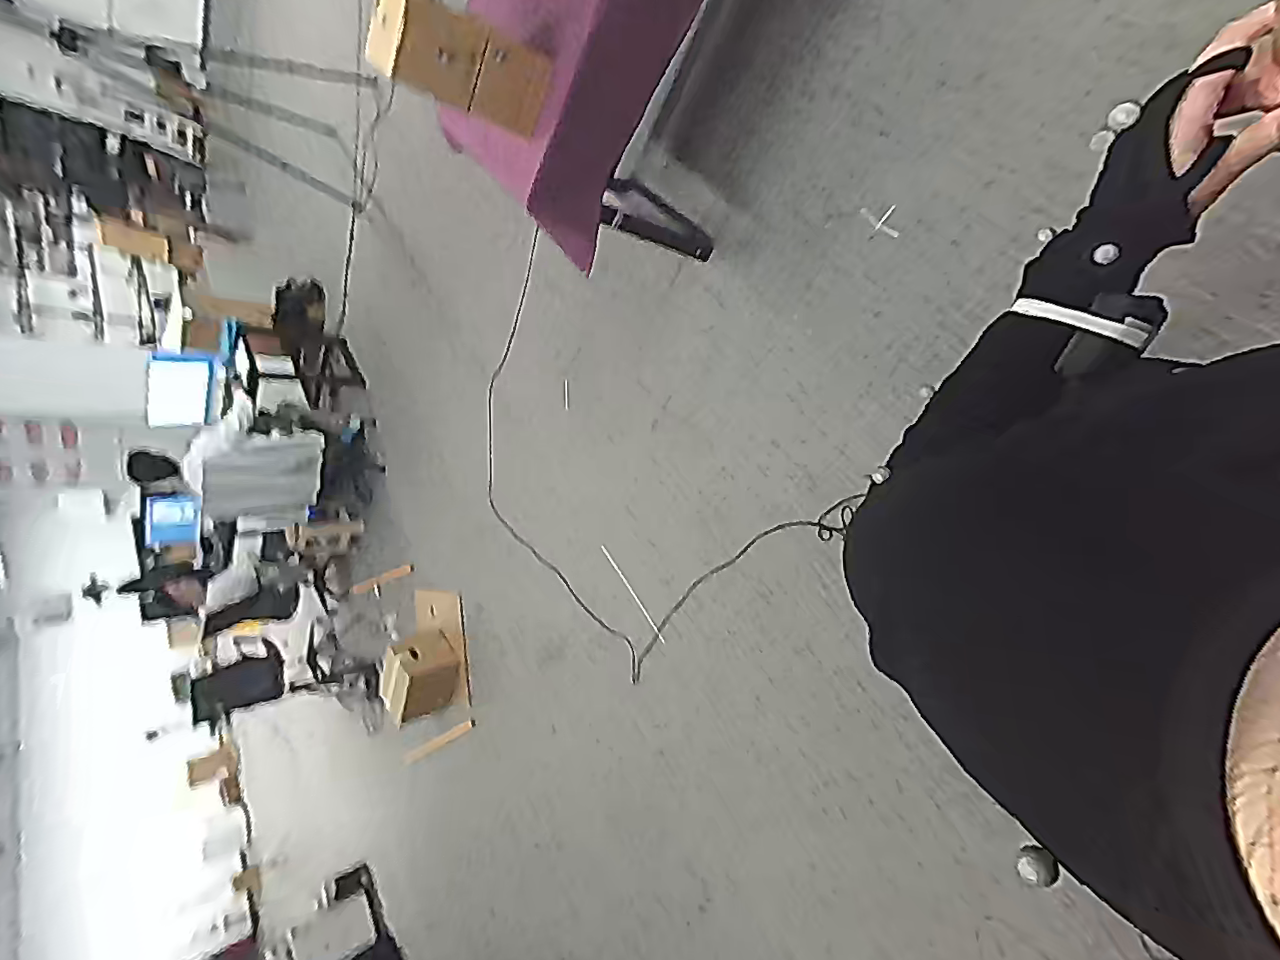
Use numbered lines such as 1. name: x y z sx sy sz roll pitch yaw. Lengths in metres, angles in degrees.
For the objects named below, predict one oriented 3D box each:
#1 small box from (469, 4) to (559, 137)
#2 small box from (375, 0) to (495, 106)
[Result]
1. small box: -0.314 -0.943 1.259 0.168 0.176 0.179 51 124 30
2. small box: -0.433 -0.935 1.146 0.179 0.176 0.168 51 124 30
